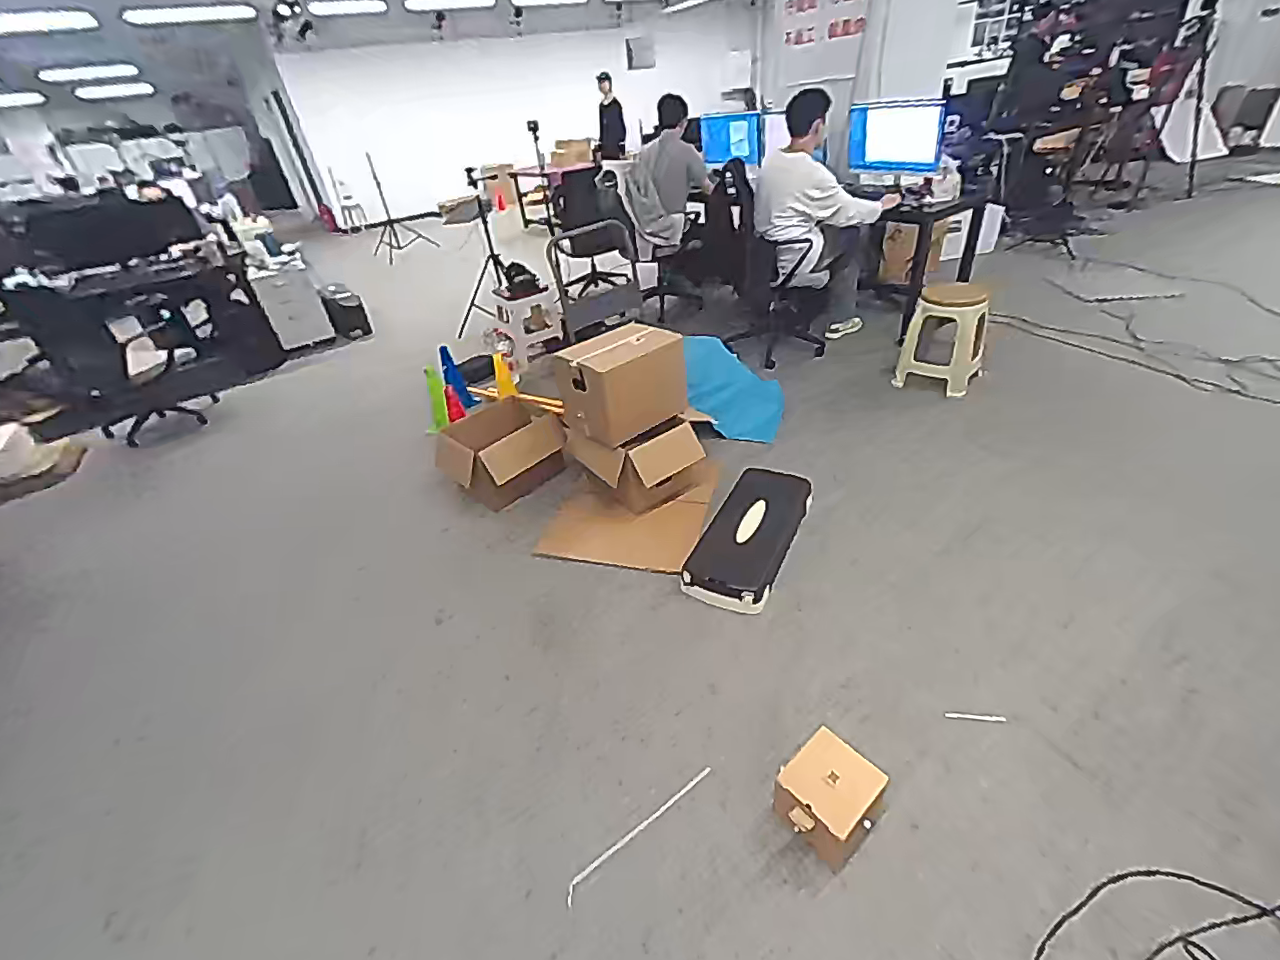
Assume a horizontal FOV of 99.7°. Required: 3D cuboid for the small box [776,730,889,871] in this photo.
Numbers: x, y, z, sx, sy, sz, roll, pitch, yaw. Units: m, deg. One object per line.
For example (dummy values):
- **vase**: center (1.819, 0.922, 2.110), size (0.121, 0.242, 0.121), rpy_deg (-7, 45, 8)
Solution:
- **small box**: center (0.415, 0.705, 1.195), size (0.179, 0.176, 0.168), rpy_deg (-31, 42, -28)
